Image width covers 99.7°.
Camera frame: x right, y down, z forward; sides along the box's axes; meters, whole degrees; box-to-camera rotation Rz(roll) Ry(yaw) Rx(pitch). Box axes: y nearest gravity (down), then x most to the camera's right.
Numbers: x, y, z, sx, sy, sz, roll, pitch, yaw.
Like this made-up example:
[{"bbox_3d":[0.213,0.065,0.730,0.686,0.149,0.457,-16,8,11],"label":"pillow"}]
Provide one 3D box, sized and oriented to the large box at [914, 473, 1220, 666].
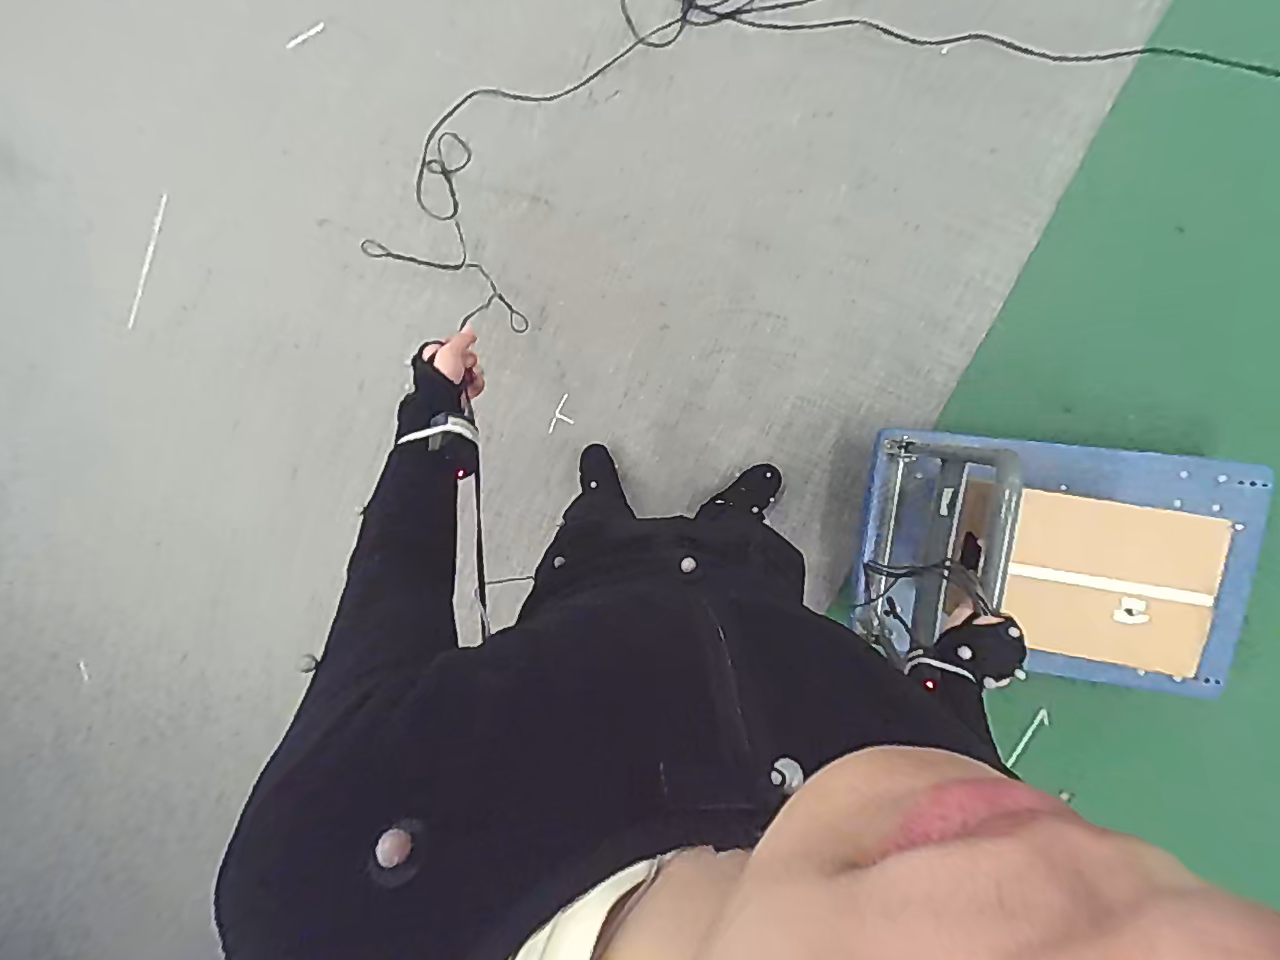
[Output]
[{"bbox_3d":[0.886,0.169,1.192,0.408,0.320,0.320,9,97,6],"label":"large box"}]
